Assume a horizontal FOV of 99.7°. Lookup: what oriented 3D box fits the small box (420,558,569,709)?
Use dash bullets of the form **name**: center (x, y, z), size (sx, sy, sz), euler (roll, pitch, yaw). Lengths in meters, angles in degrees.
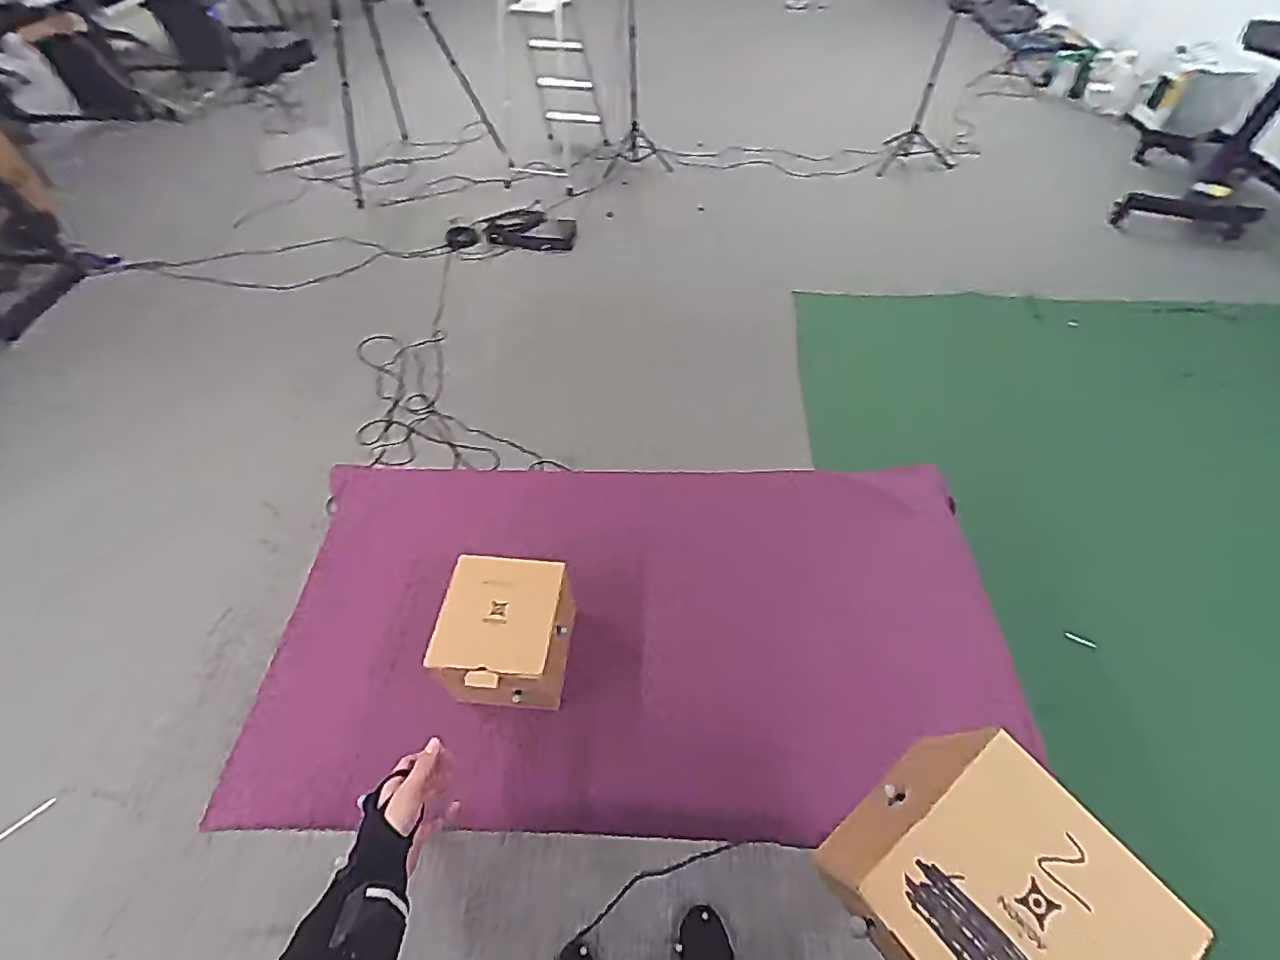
- **small box**: center (-0.211, 0.243, 0.842), size (0.168, 0.176, 0.179), euler (5, 53, 3)
